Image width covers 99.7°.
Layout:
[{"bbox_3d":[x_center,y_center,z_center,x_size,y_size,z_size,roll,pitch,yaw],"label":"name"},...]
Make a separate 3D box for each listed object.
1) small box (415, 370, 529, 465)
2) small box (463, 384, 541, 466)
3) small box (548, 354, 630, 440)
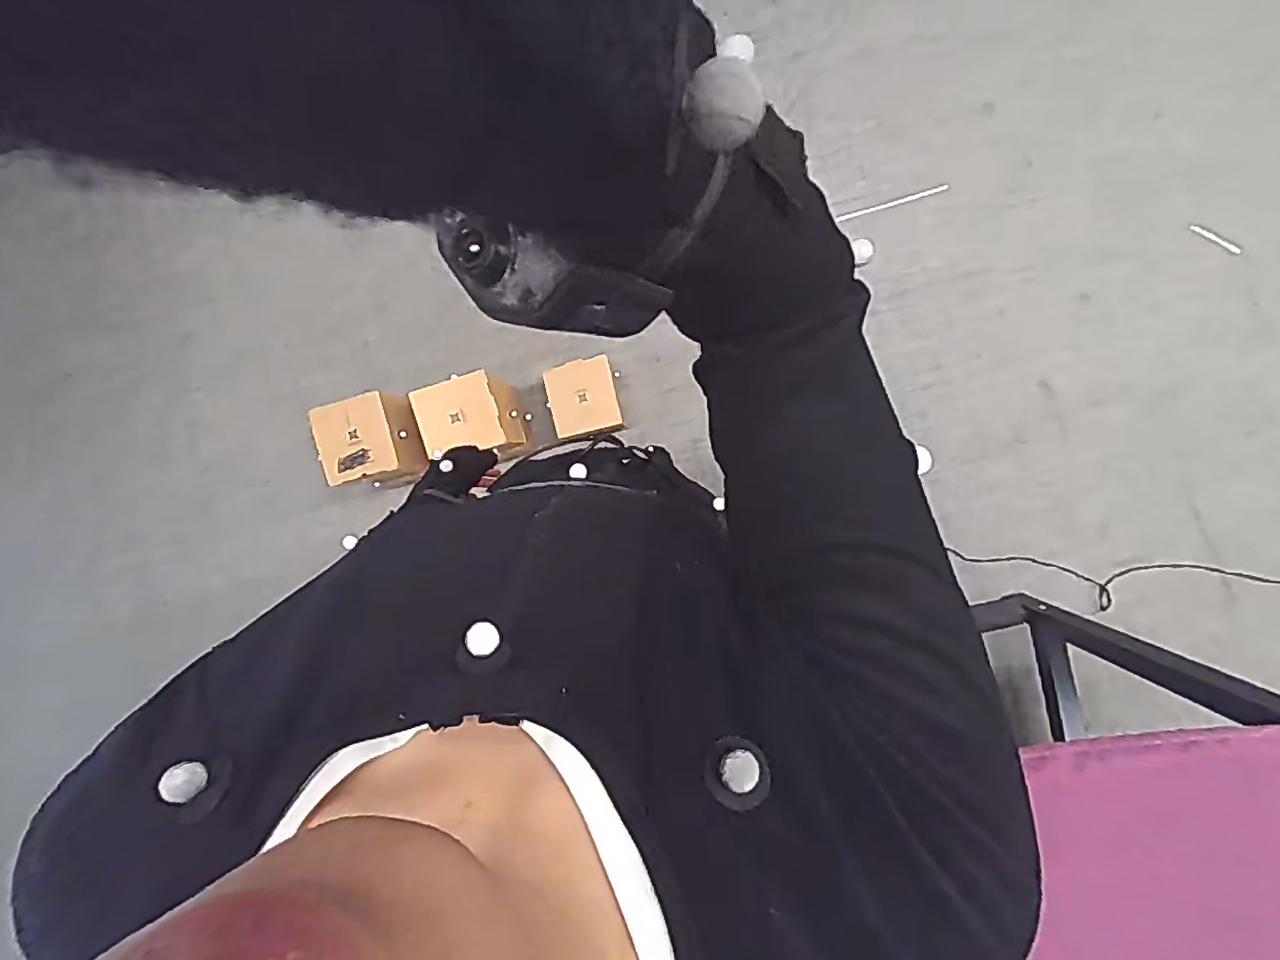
[{"bbox_3d":[-0.376,-0.136,1.238,0.179,0.176,0.168,-17,92,3],"label":"small box"},{"bbox_3d":[-0.372,-0.138,1.400,0.168,0.176,0.179,-16,91,5],"label":"small box"},{"bbox_3d":[-0.125,-0.206,1.388,0.168,0.176,0.179,-14,92,4],"label":"small box"}]
